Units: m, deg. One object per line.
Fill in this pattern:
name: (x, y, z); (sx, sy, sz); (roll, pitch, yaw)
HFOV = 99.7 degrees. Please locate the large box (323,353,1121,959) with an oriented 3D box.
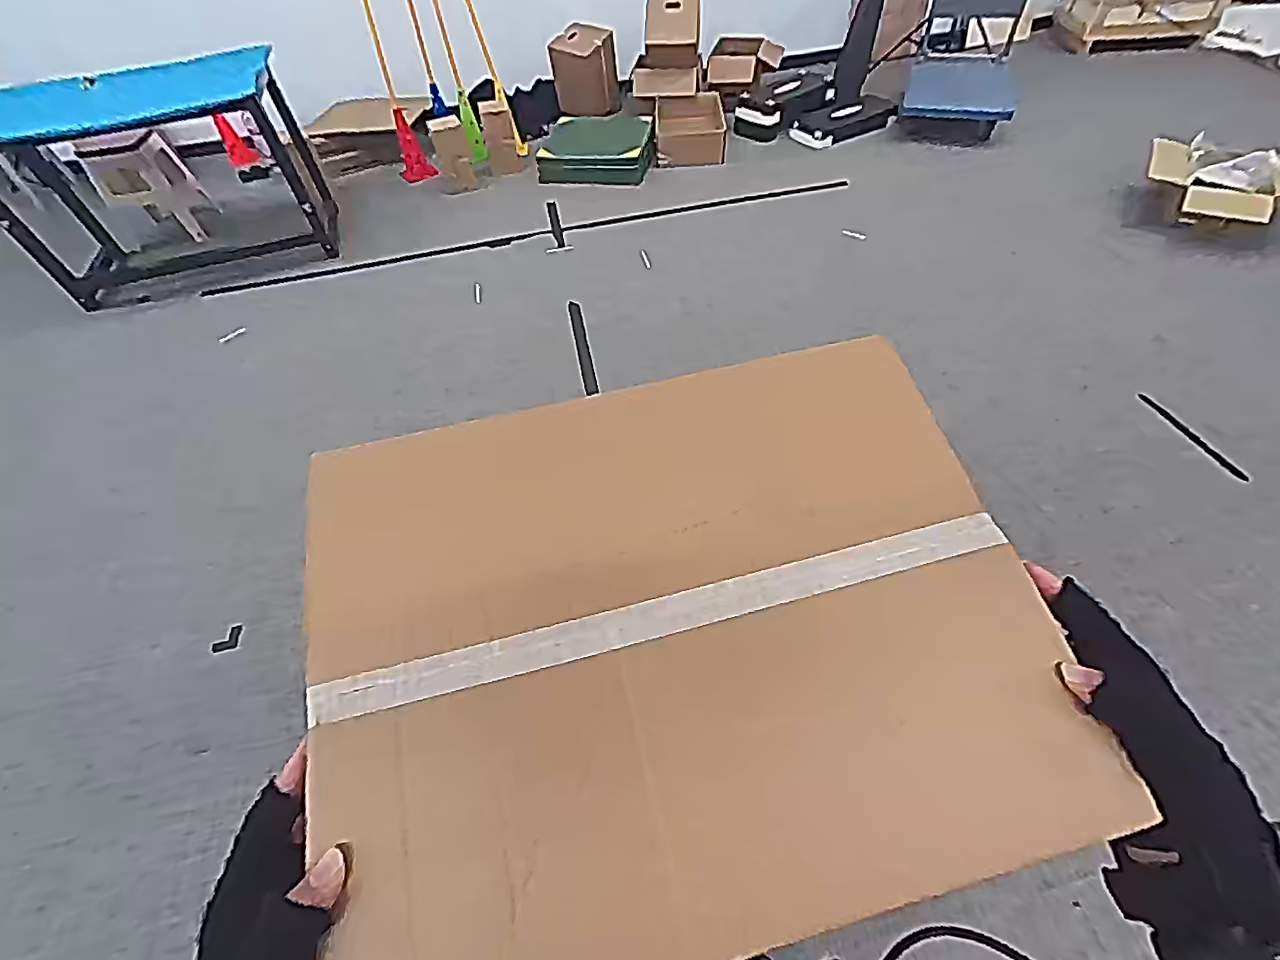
large box: (0.023, 0.147, 0.451); (0.408, 0.320, 0.320); (-13, 65, -5)
